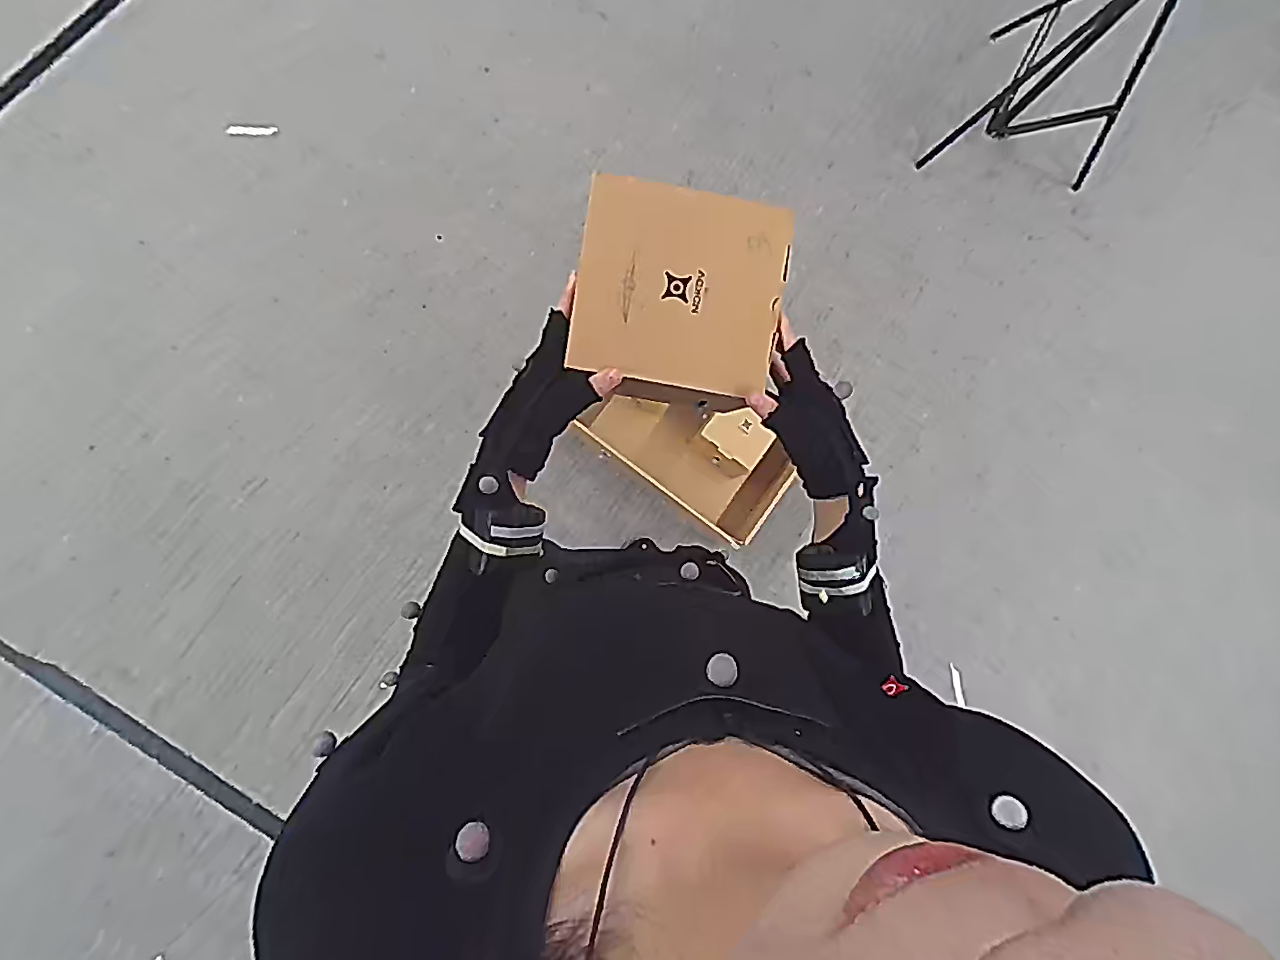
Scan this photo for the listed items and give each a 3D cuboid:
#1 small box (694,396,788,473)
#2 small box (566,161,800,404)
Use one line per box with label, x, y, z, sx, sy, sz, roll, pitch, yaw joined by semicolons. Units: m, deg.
small box;0.264;-0.135;1.466;0.168;0.176;0.179;38;82;-2
small box;0.032;-0.169;0.524;0.179;0.176;0.168;8;92;-3
